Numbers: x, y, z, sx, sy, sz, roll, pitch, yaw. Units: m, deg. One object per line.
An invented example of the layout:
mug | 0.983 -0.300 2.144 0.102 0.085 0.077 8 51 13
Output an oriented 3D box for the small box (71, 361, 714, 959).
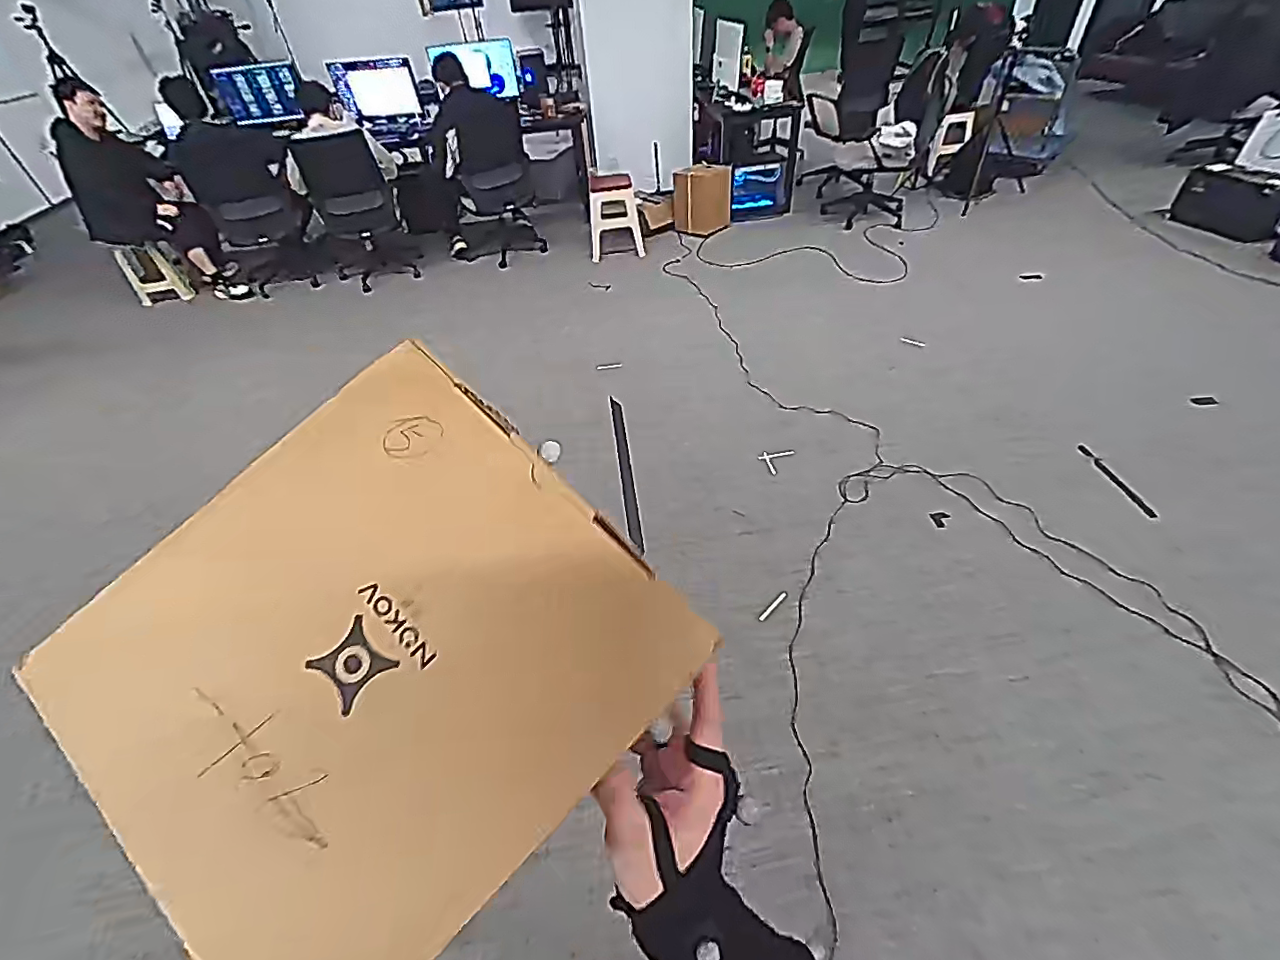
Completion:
small box | -0.087 0.083 0.270 0.168 0.176 0.179 42 80 13
